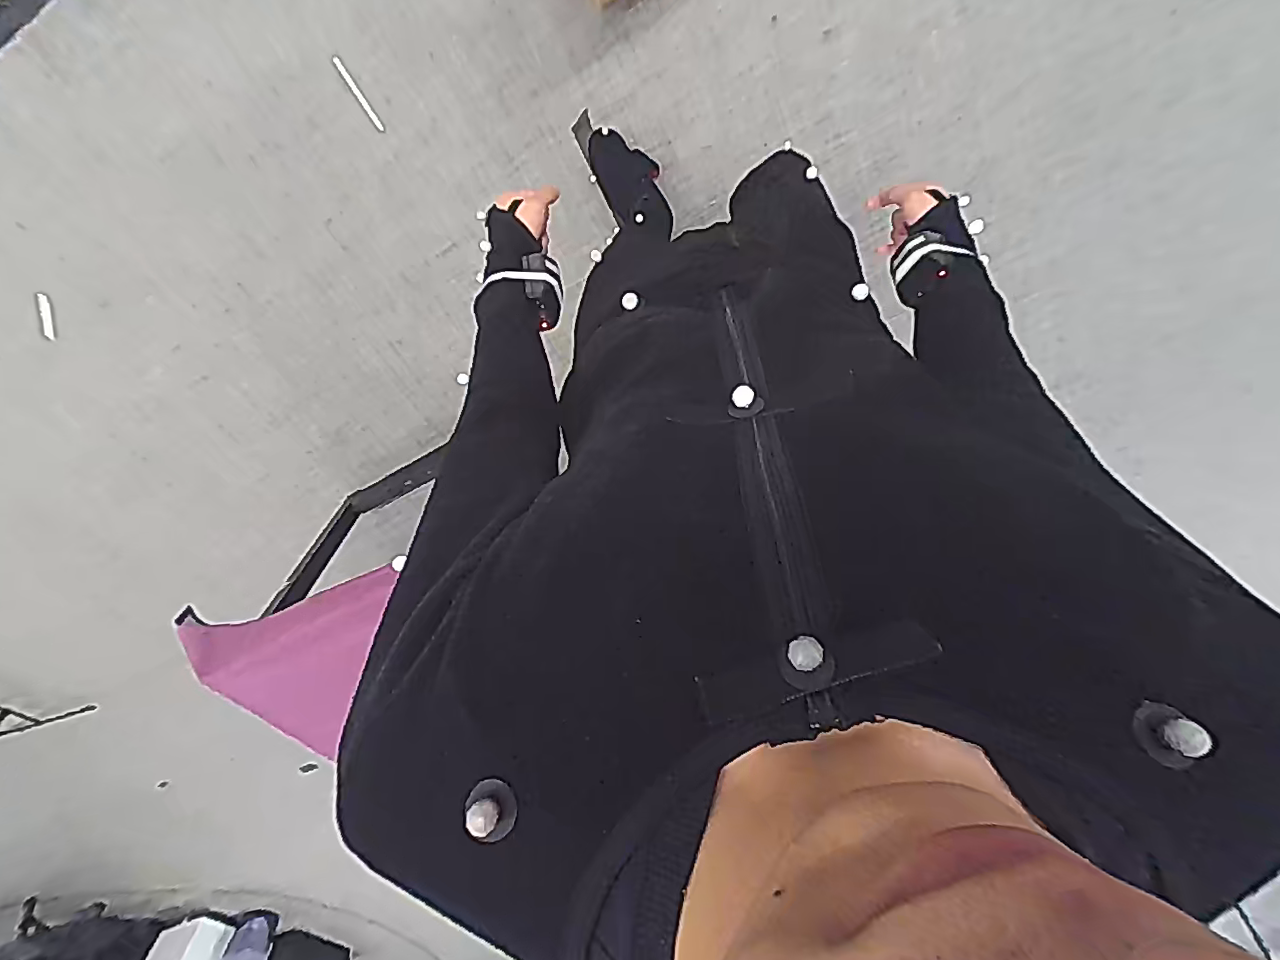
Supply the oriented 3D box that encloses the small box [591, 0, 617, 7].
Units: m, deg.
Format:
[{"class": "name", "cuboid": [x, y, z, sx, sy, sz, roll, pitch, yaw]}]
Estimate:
[{"class": "small box", "cuboid": [-0.052, -1.057, 1.042, 0.168, 0.176, 0.179, -22, 121, 10]}]
